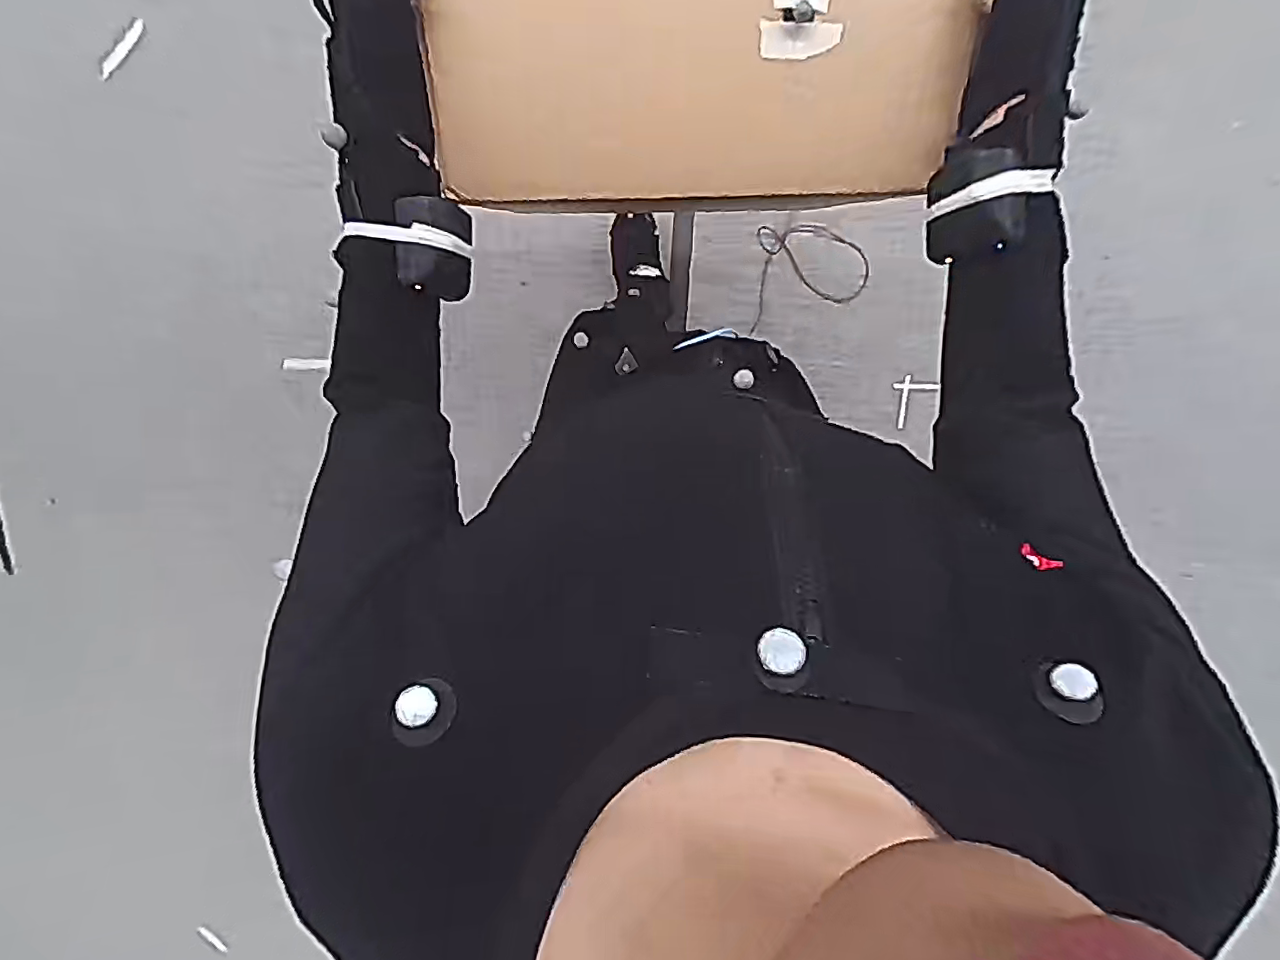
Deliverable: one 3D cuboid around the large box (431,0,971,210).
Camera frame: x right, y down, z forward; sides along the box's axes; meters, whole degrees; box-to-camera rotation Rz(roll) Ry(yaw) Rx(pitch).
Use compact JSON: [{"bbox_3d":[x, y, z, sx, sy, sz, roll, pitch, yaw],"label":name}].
[{"bbox_3d":[0.039,-0.440,0.514,0.408,0.320,0.320,-2,116,-2],"label":"large box"}]
